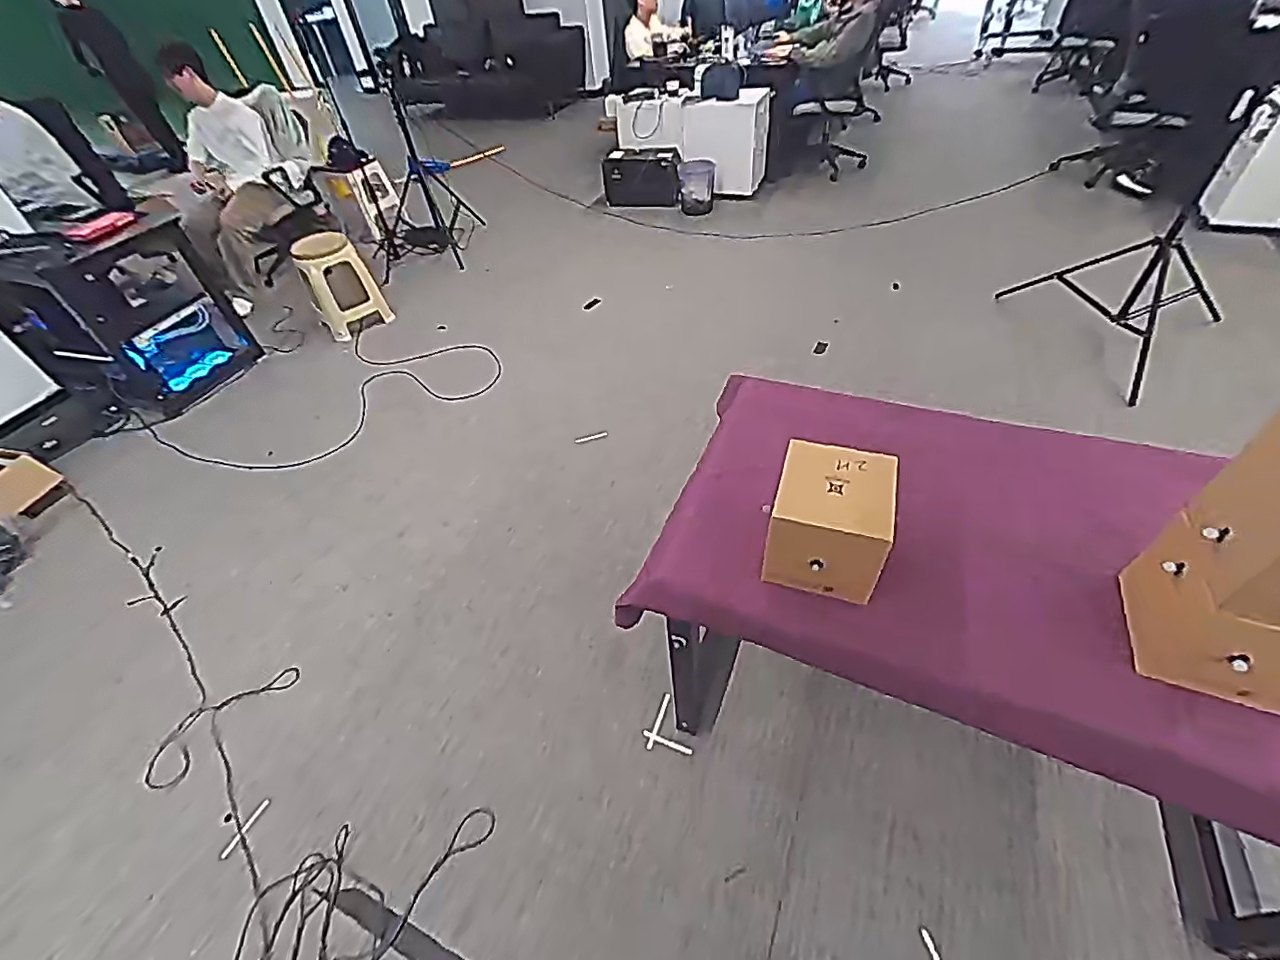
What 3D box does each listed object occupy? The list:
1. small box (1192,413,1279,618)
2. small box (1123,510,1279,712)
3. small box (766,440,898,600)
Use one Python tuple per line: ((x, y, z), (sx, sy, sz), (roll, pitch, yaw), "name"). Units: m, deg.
((0.773, 0.056, 0.595), (0.168, 0.176, 0.179), (15, 50, 20), "small box")
((0.785, 0.172, 0.710), (0.168, 0.176, 0.179), (14, 49, 20), "small box")
((0.301, 0.065, 0.865), (0.168, 0.176, 0.179), (12, 48, 16), "small box")
